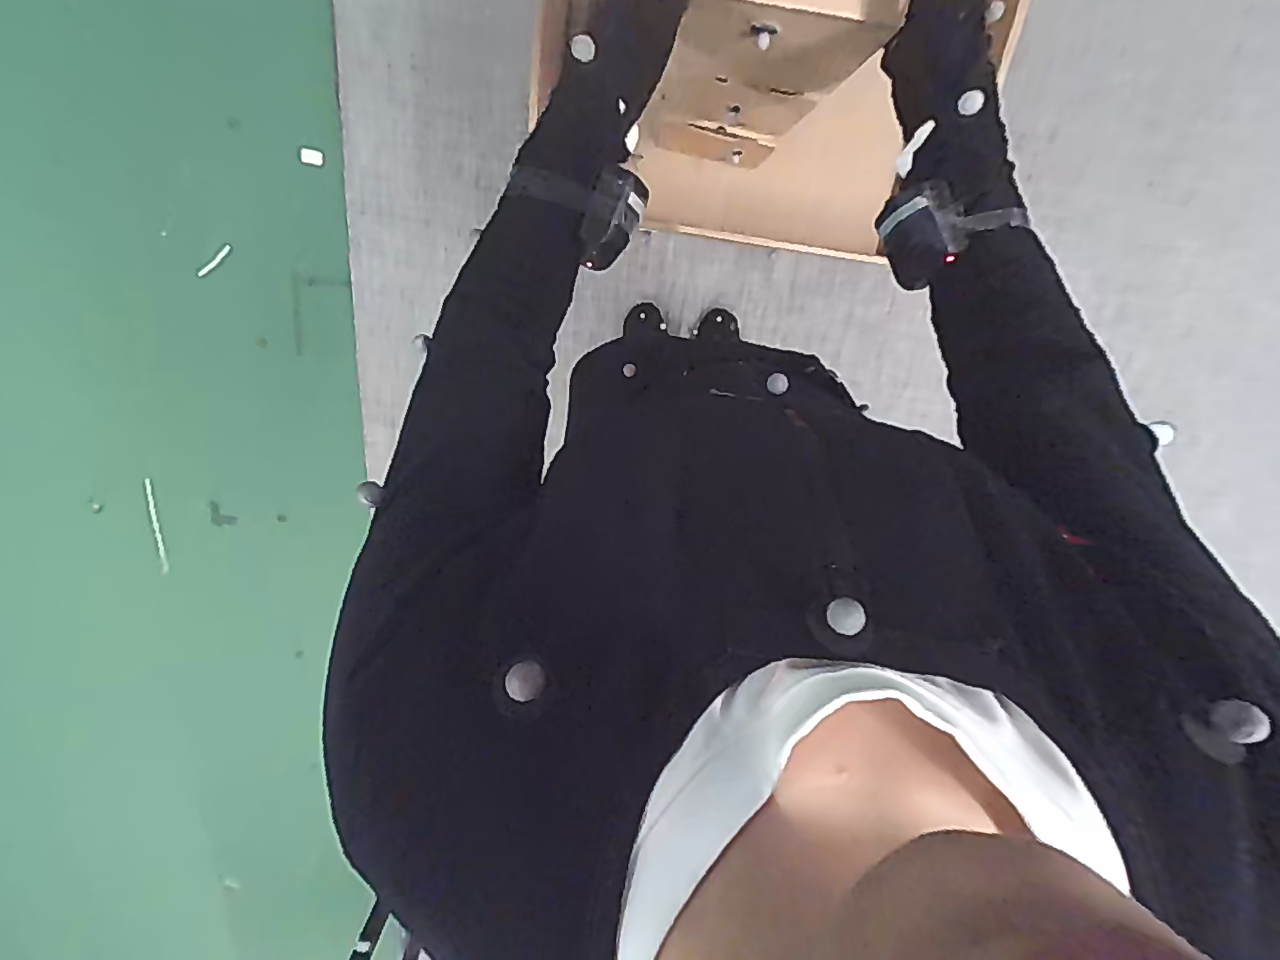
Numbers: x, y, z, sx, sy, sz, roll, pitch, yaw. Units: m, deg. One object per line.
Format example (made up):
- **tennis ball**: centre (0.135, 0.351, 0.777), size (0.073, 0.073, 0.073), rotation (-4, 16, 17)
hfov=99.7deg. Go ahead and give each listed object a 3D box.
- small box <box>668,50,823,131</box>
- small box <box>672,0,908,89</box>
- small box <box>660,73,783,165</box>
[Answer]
- **small box**: centre (0.128, -0.522, 0.611), size (0.168, 0.176, 0.179), rotation (10, 111, -4)
- **small box**: centre (0.126, -0.461, 0.457), size (0.179, 0.176, 0.168), rotation (7, 111, -4)
- **small box**: centre (0.124, -0.571, 0.767), size (0.168, 0.176, 0.179), rotation (10, 109, -5)
